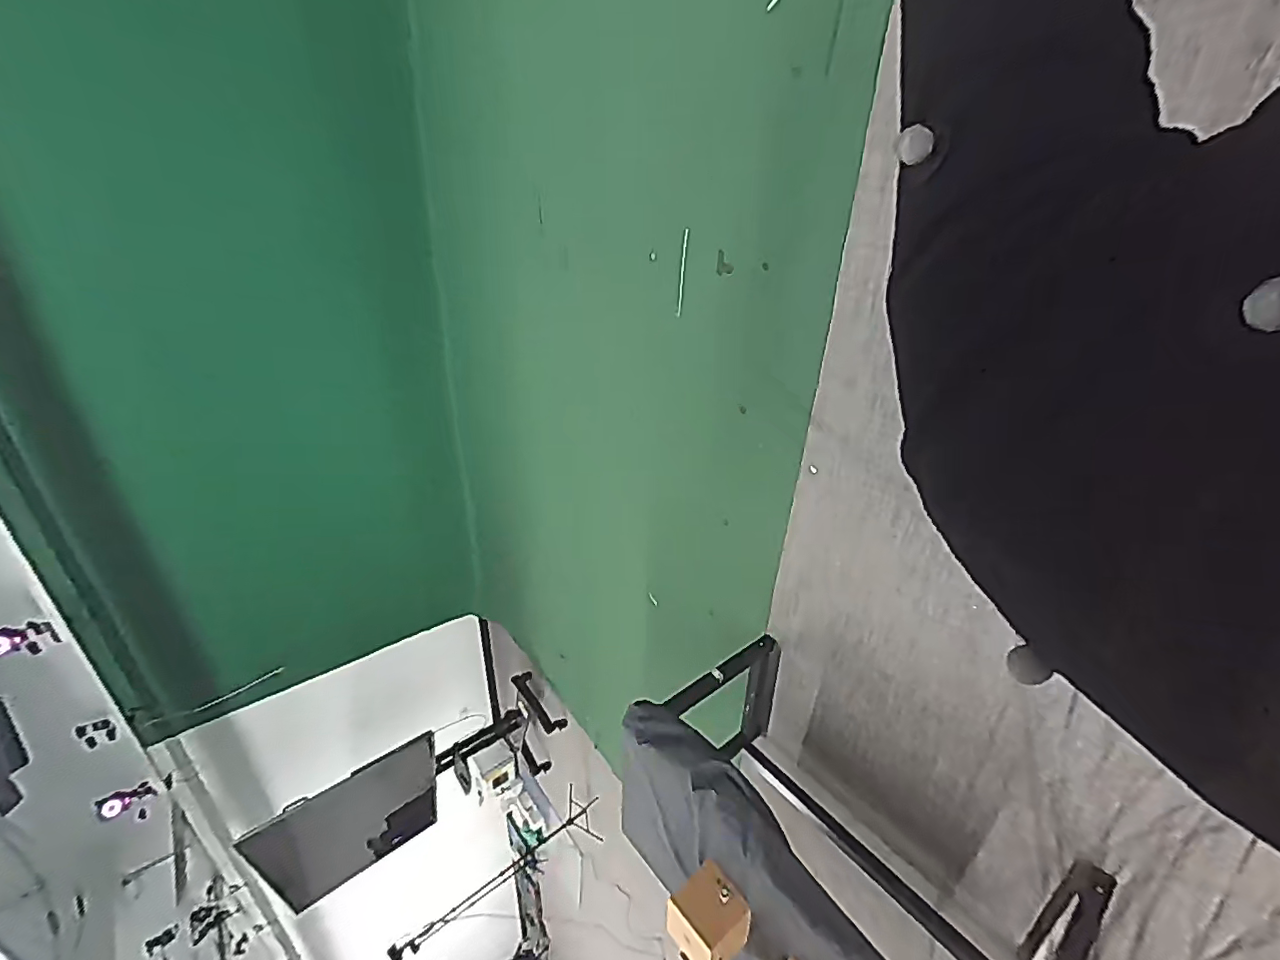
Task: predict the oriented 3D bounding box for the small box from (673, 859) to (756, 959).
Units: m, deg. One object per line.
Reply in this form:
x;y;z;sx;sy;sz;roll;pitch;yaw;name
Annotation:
0.210;1.232;1.522;0.168;0.176;0.179;25;125;44;small box
